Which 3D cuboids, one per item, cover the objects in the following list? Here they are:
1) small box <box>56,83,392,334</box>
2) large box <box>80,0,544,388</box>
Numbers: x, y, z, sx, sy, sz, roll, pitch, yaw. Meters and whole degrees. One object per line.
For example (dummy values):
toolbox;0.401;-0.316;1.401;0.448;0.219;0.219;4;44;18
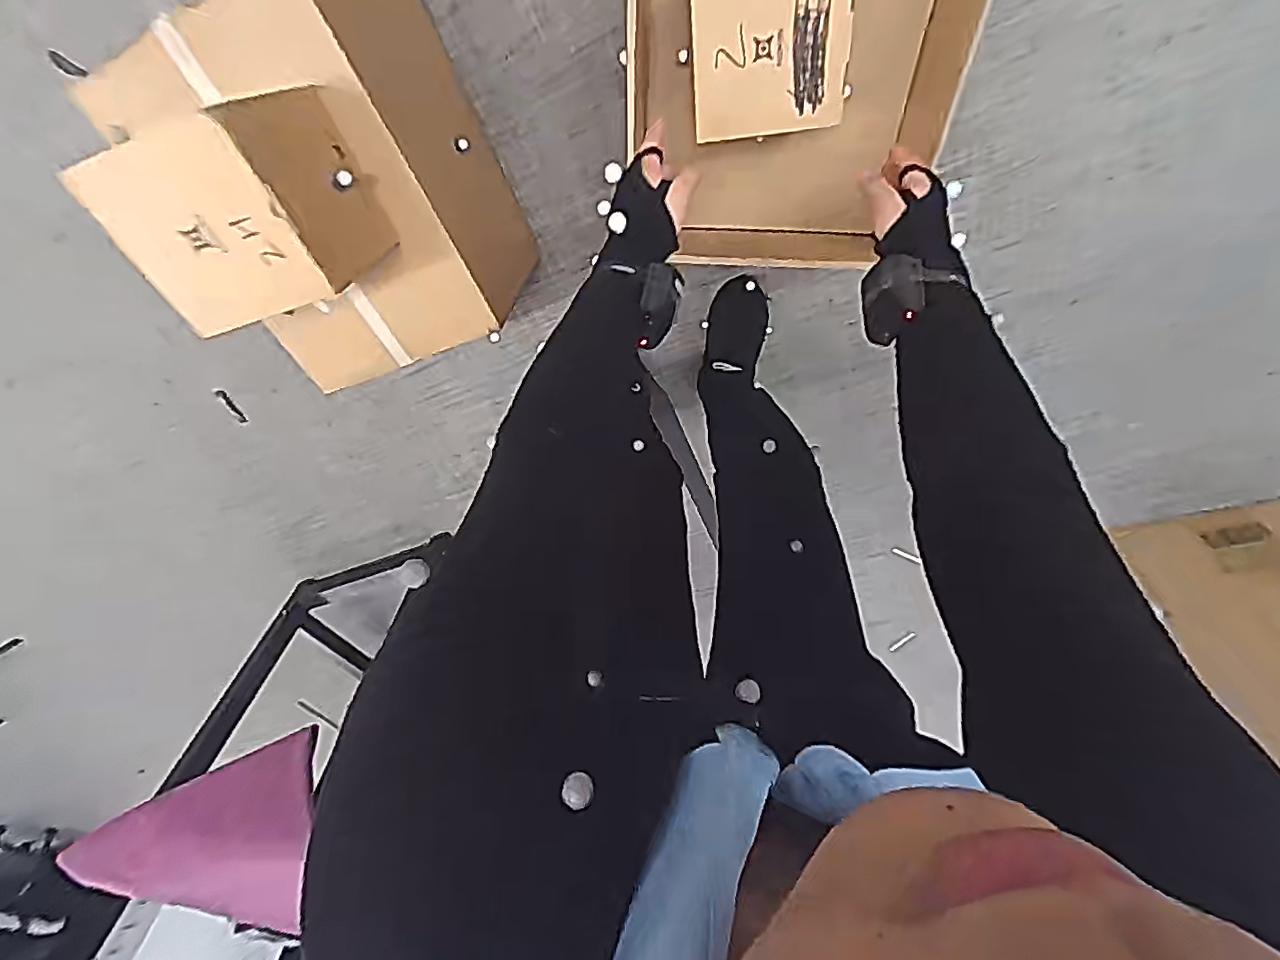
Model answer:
small box;-0.397;-0.279;0.556;0.179;0.176;0.168;-12;130;13
large box;-0.384;-0.414;0.765;0.320;0.320;0.408;-14;129;17
